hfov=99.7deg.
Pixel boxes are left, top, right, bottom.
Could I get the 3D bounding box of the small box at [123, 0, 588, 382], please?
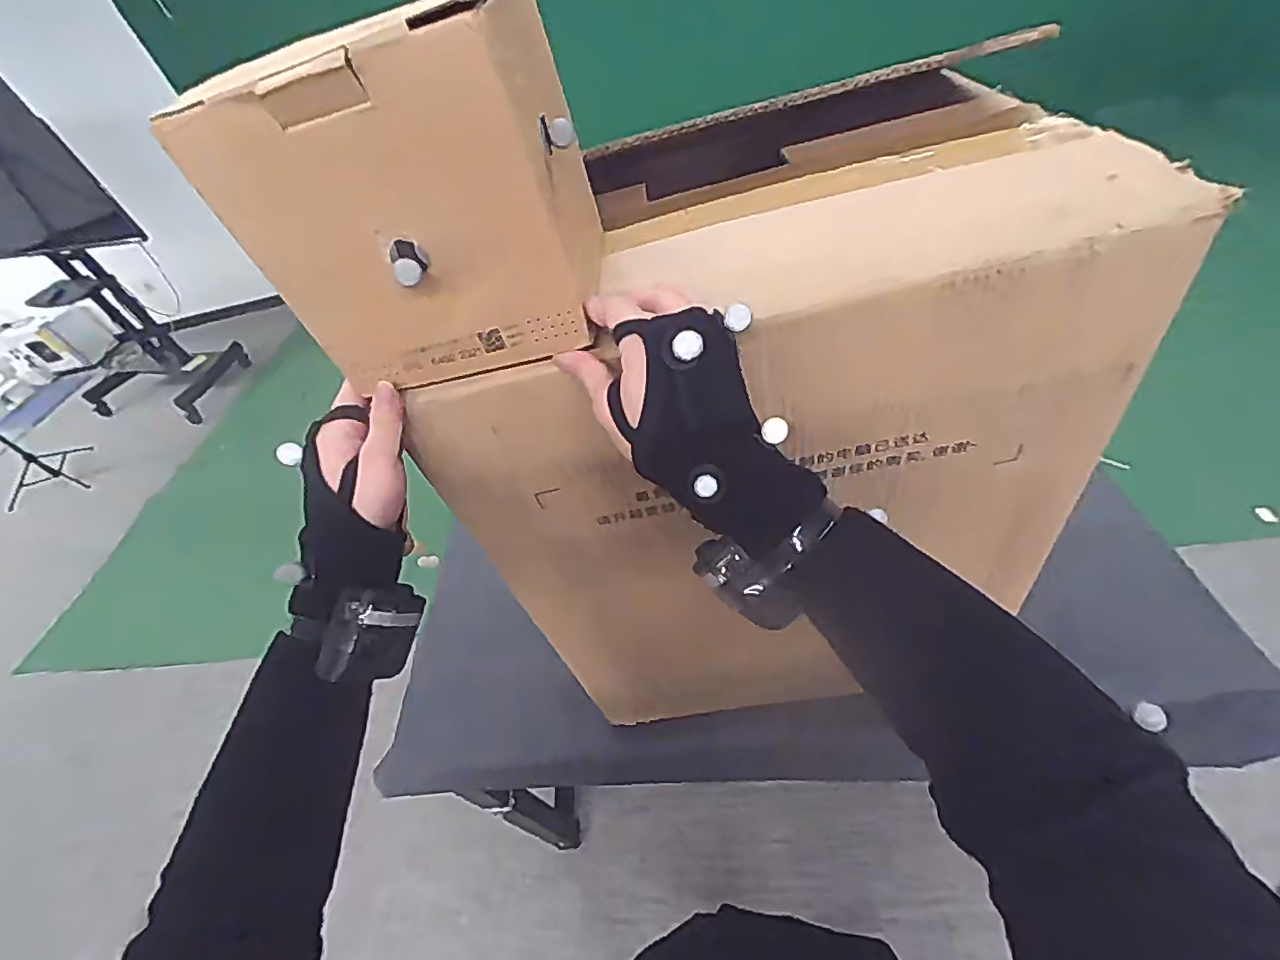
[{"bbox_3d":[-0.137,-0.180,0.342,0.168,0.176,0.179,-10,48,10],"label":"small box"}]
